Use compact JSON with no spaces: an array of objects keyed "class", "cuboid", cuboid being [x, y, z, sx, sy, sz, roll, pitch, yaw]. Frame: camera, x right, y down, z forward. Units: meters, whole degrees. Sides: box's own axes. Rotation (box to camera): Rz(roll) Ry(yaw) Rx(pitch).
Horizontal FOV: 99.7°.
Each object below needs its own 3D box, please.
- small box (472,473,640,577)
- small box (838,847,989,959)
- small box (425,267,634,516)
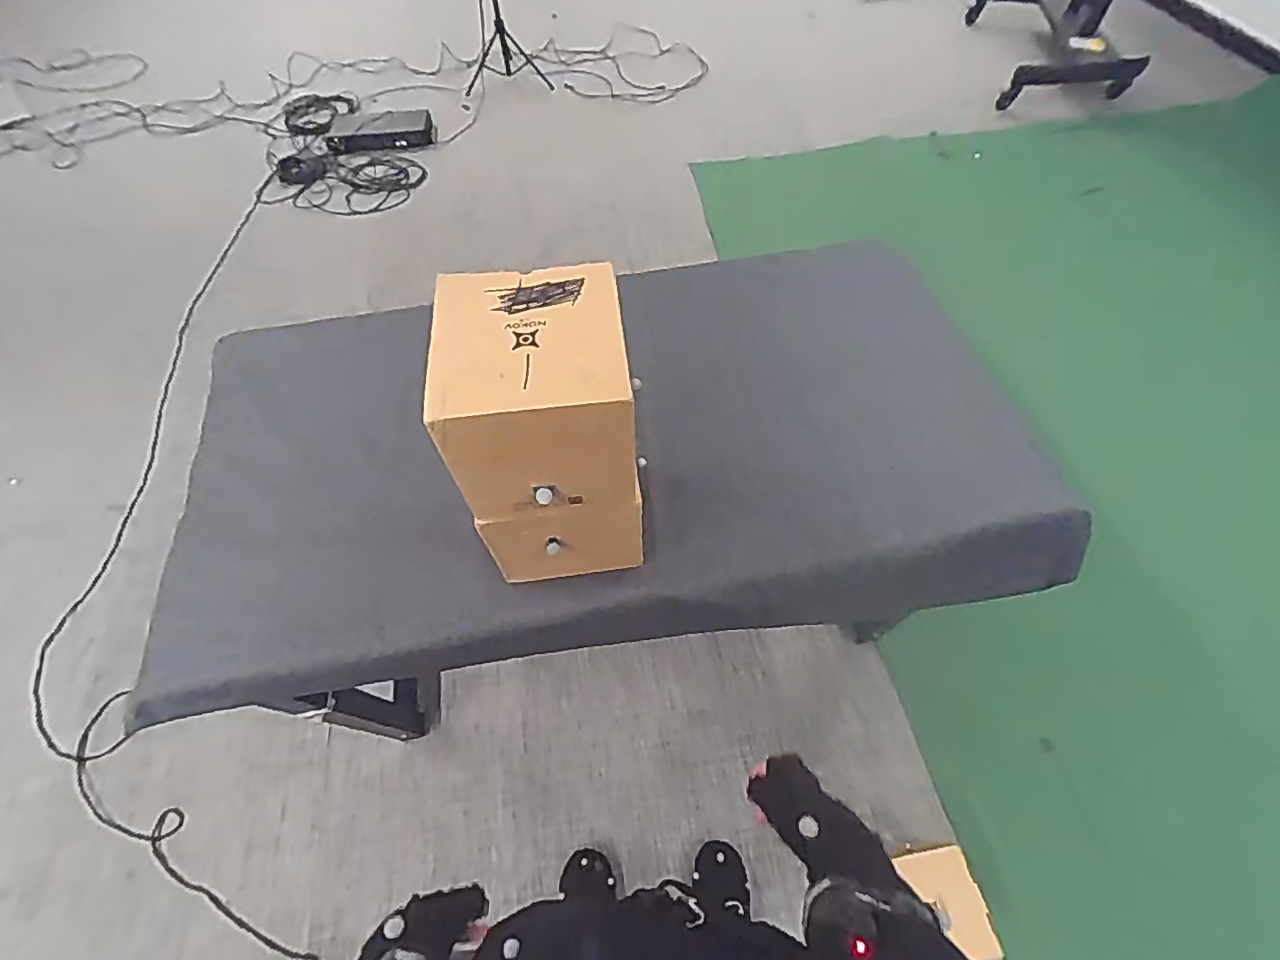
[{"class":"small box","cuboid":[-0.096,0.010,0.672,0.179,0.176,0.168,-6,58,-3]},{"class":"small box","cuboid":[0.507,0.816,1.034,0.179,0.176,0.168,-9,58,-3]},{"class":"small box","cuboid":[-0.095,-0.083,0.536,0.168,0.176,0.179,-5,59,-3]}]
